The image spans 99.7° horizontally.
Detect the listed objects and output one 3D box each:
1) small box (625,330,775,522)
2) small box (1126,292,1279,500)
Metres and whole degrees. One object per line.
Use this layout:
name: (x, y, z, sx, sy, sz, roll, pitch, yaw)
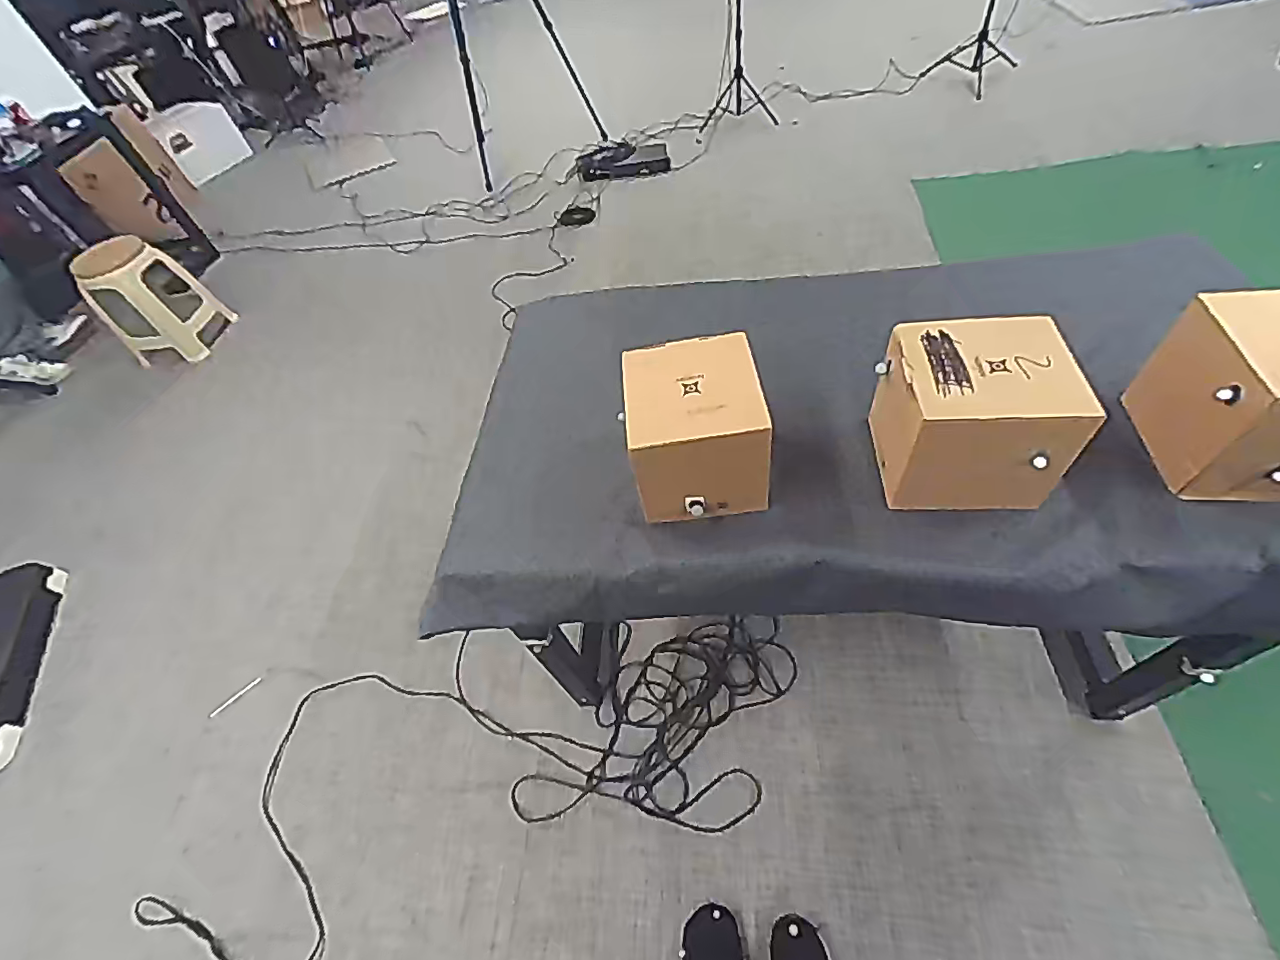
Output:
small box: (0.076, -0.068, 0.720, 0.168, 0.176, 0.179, -9, 53, 5)
small box: (0.719, -0.095, 0.620, 0.168, 0.176, 0.179, 1, 53, 12)
